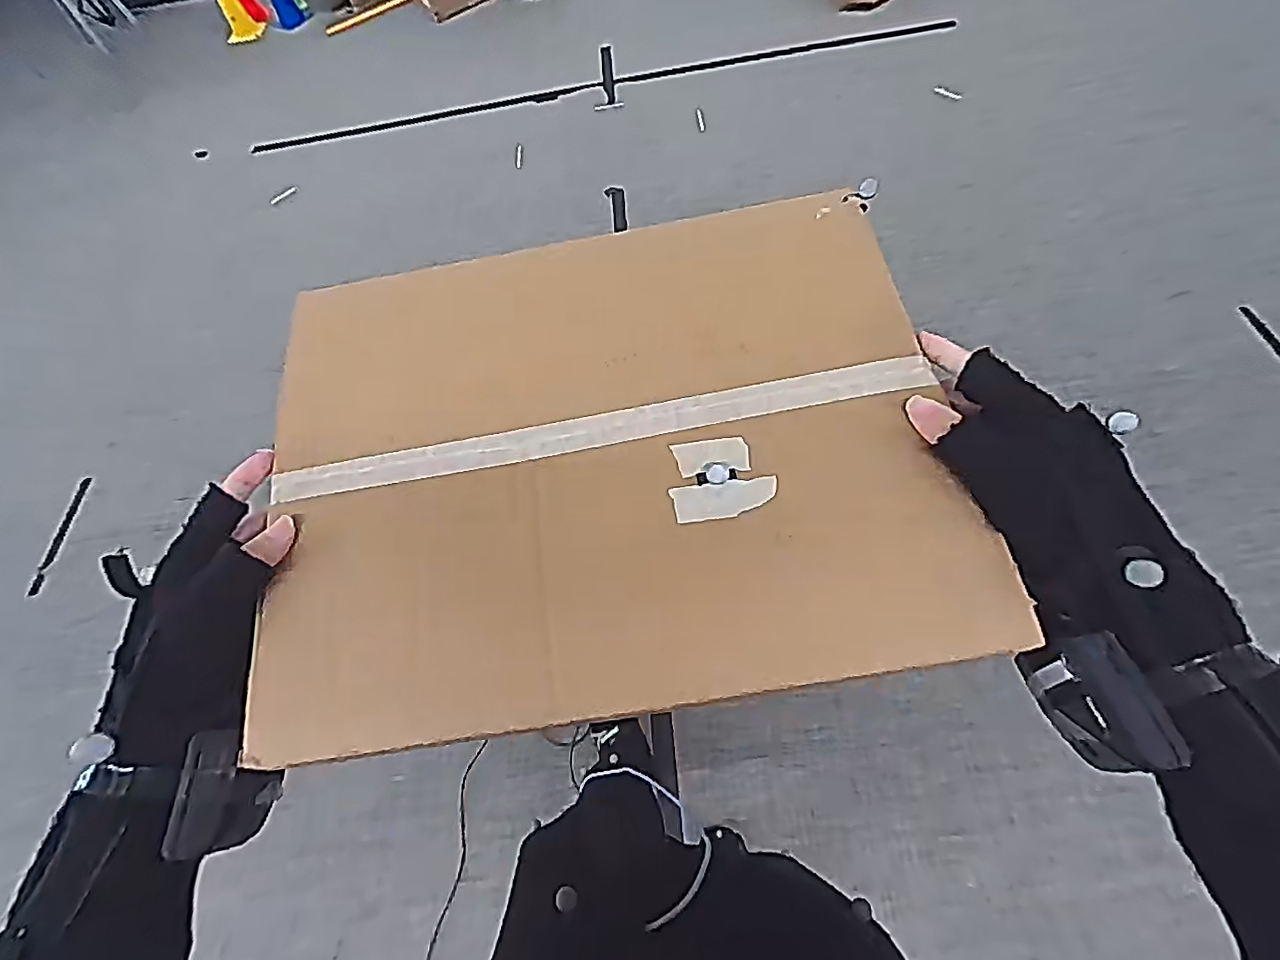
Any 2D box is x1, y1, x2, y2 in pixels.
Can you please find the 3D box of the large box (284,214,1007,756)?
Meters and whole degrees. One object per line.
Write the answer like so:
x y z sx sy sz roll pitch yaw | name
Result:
-0.009 0.033 0.482 0.408 0.320 0.320 -10 68 2 | large box
